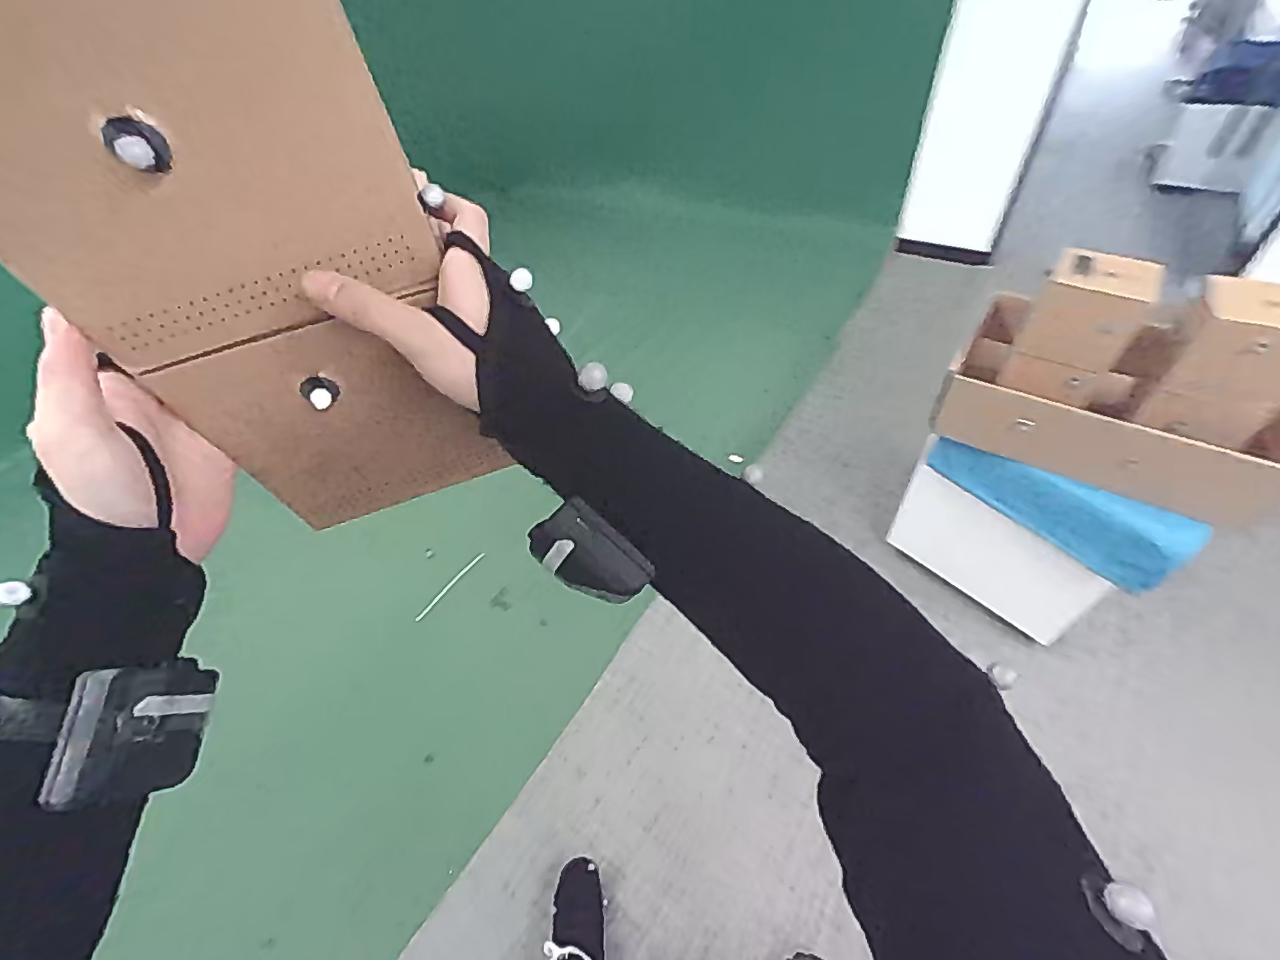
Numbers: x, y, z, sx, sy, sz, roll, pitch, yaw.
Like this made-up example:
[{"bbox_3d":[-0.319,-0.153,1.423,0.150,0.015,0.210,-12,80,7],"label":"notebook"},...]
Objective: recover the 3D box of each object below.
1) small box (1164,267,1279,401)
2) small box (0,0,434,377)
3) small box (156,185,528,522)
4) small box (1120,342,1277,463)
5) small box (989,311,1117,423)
[{"bbox_3d":[1.132,-0.271,1.011,0.179,0.176,0.168,21,55,25],"label":"small box"},{"bbox_3d":[-0.230,-0.188,0.292,0.179,0.176,0.168,-22,54,-7],"label":"small box"},{"bbox_3d":[-0.206,-0.091,0.423,0.179,0.176,0.168,-18,54,-5],"label":"small box"},{"bbox_3d":[1.151,-0.160,1.130,0.179,0.176,0.168,21,54,26],"label":"small box"},{"bbox_3d":[0.947,-0.259,1.251,0.179,0.176,0.168,26,56,25],"label":"small box"}]
